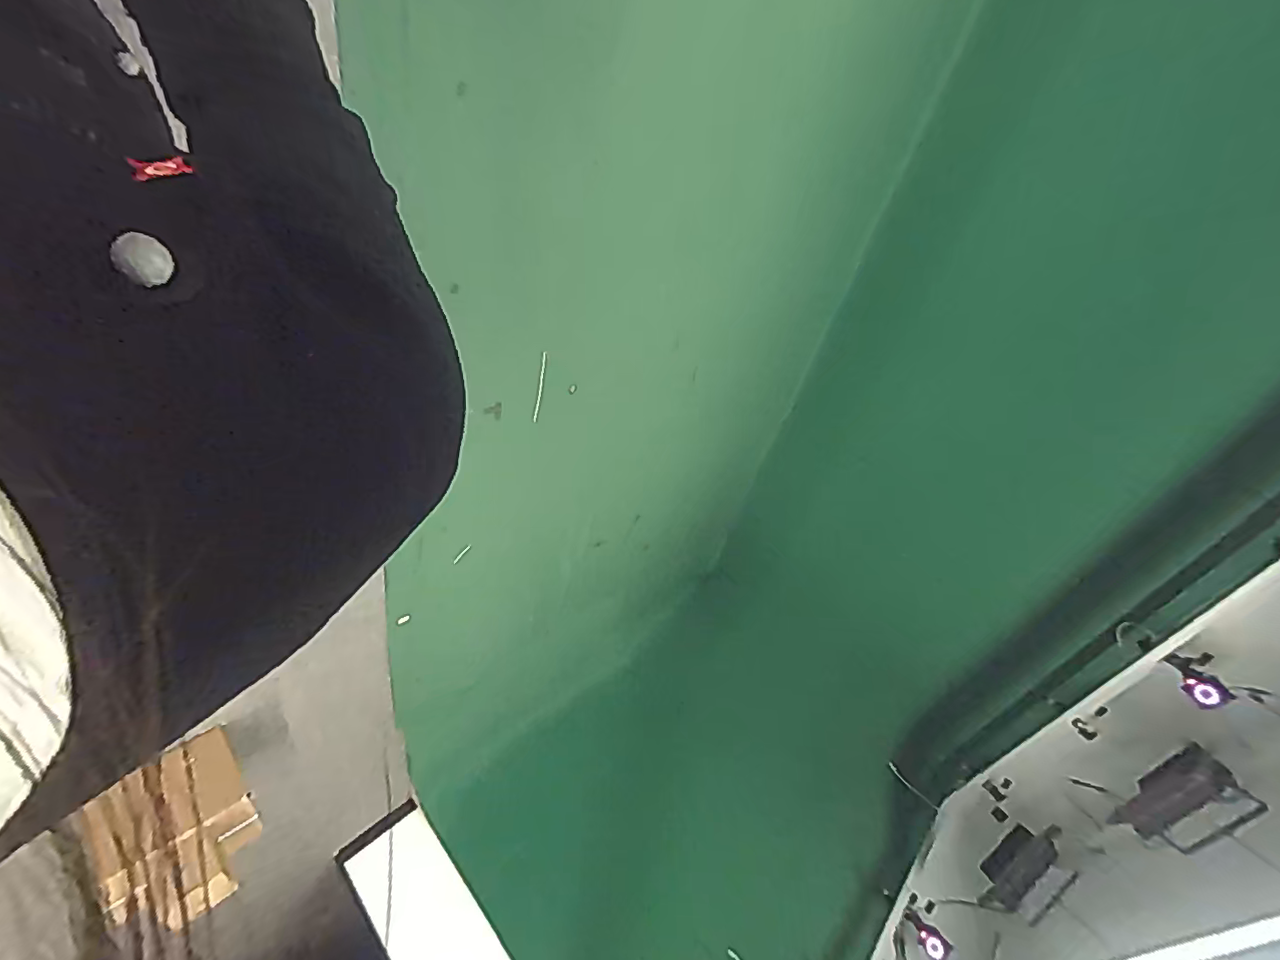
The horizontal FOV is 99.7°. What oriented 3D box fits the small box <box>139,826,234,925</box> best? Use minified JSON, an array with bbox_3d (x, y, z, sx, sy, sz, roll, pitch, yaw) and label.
[{"bbox_3d":[-1.426,1.235,1.700,0.168,0.176,0.179,-28,144,-39],"label":"small box"}]
